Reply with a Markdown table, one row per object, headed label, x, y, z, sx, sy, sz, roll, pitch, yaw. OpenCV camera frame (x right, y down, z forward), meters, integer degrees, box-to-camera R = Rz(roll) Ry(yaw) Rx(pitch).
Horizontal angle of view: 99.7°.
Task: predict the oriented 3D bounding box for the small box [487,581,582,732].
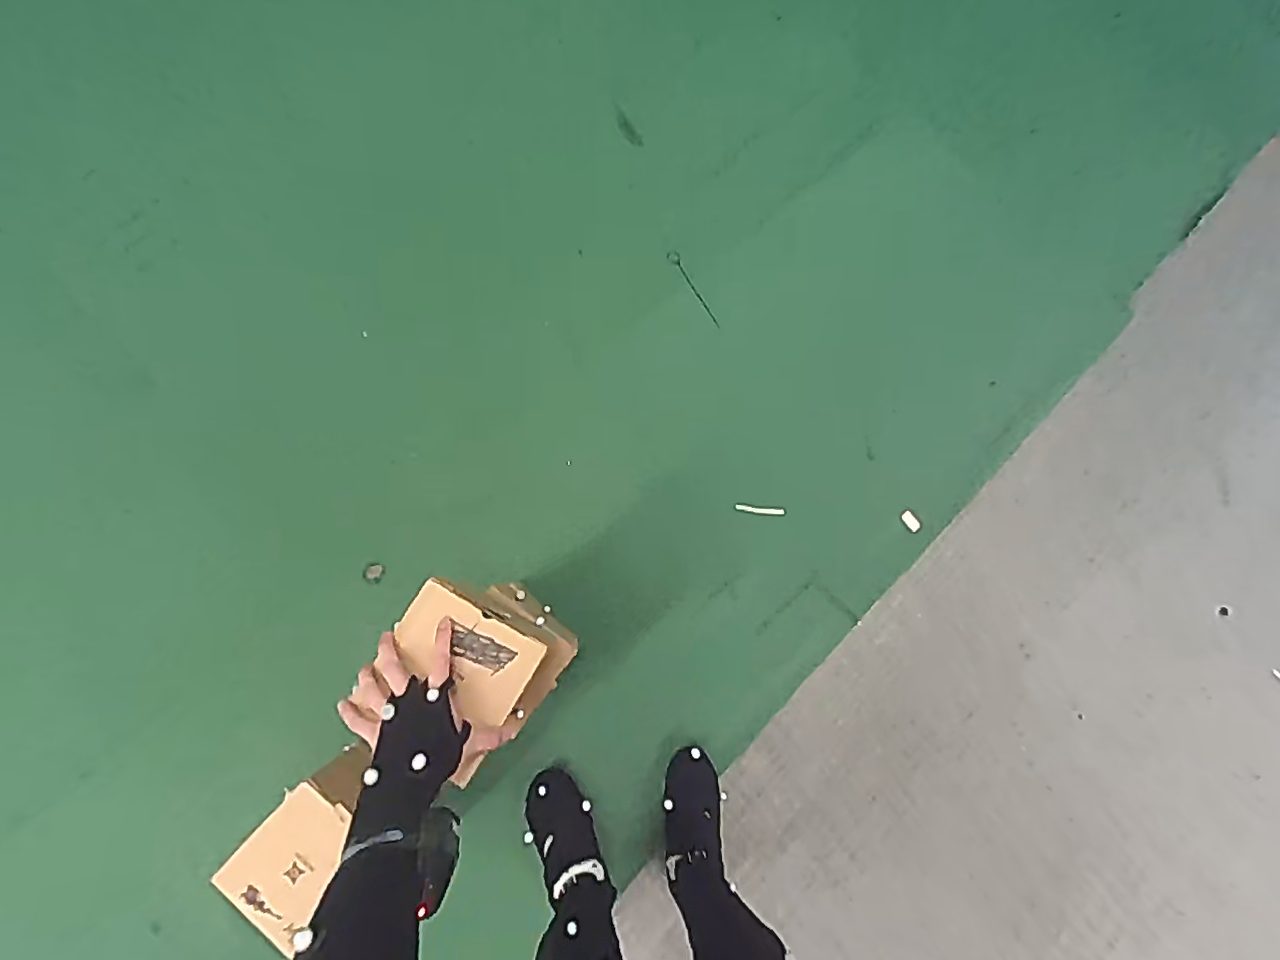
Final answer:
| label | x | y | z | sx | sy | sz | roll | pitch | yaw |
| --- | --- | --- | --- | --- | --- | --- | --- | --- | --- |
| small box | -0.217 | 0.290 | 0.925 | 0.179 | 0.176 | 0.168 | 37 | 80 | 1 |

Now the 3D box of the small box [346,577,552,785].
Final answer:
| label | x | y | z | sx | sy | sz | roll | pitch | yaw |
| --- | --- | --- | --- | --- | --- | --- | --- | --- | --- |
| small box | -0.226 | 0.242 | 0.698 | 0.168 | 0.176 | 0.179 | 30 | 79 | 2 |

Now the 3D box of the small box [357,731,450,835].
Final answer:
| label | x | y | z | sx | sy | sz | roll | pitch | yaw |
| --- | --- | --- | --- | --- | --- | --- | --- | --- | --- |
| small box | -0.488 | 0.585 | 1.018 | 0.179 | 0.176 | 0.168 | 44 | 80 | 4 |

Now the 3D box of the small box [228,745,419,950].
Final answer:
| label | x | y | z | sx | sy | sz | roll | pitch | yaw |
| --- | --- | --- | --- | --- | --- | --- | --- | --- | --- |
| small box | -0.479 | 0.559 | 0.857 | 0.168 | 0.176 | 0.179 | 42 | 79 | 4 |
